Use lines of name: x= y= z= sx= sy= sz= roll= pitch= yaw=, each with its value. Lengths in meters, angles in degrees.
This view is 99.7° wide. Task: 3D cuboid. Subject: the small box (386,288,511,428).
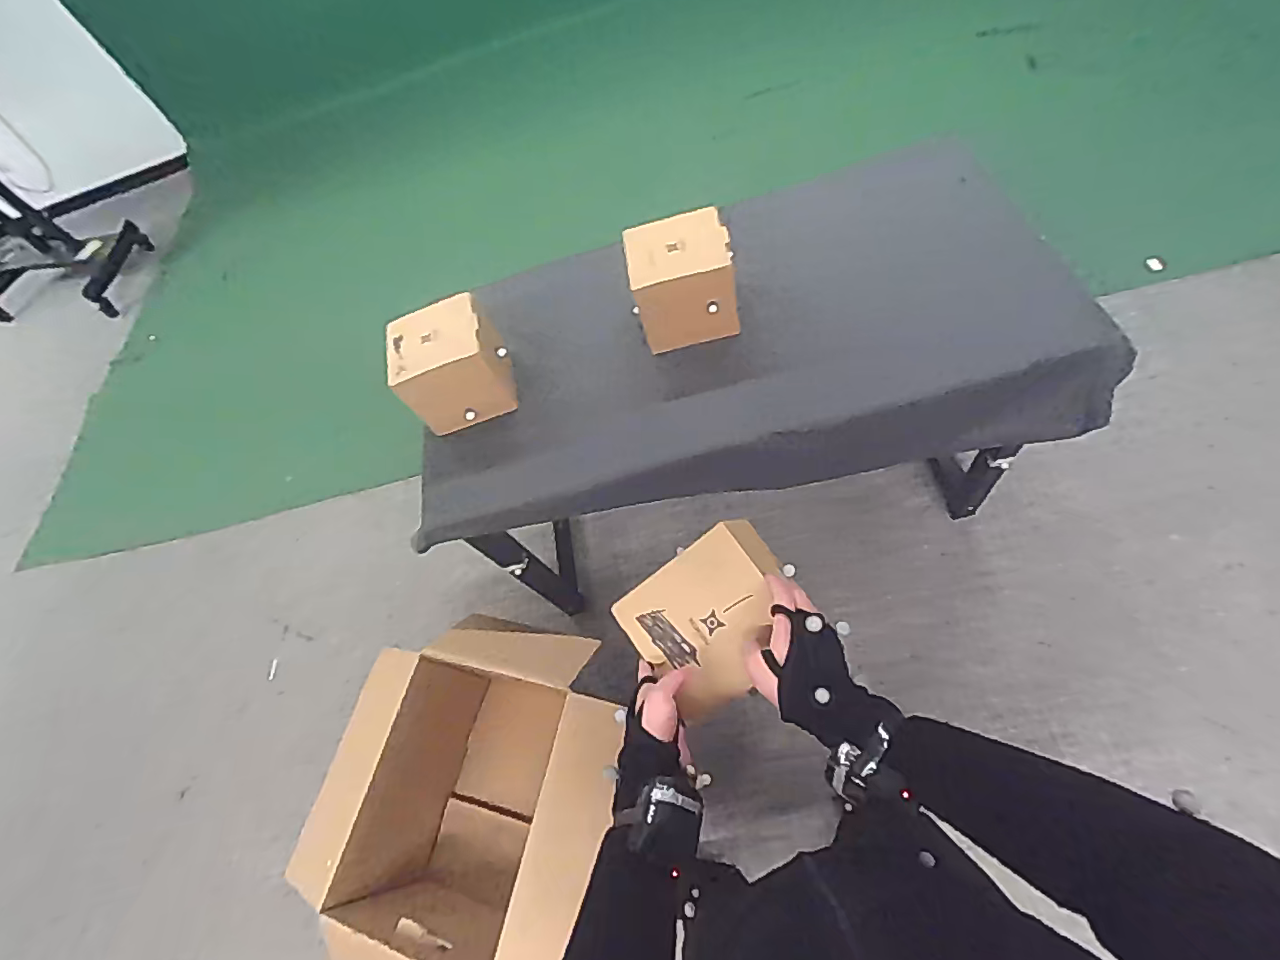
small box: x=-0.361 y=-0.229 z=1.042 sx=0.179 sy=0.176 sz=0.168 roll=-19 pitch=59 yaw=3

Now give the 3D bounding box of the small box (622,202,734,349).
small box: x=0.076 y=-0.374 z=1.009 sx=0.179 sy=0.176 sz=0.168 roll=-13 pitch=59 yaw=9

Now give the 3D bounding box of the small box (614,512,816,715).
small box: x=0.104 y=0.157 z=0.681 sx=0.179 sy=0.176 sz=0.168 roll=-39 pitch=74 yaw=13
